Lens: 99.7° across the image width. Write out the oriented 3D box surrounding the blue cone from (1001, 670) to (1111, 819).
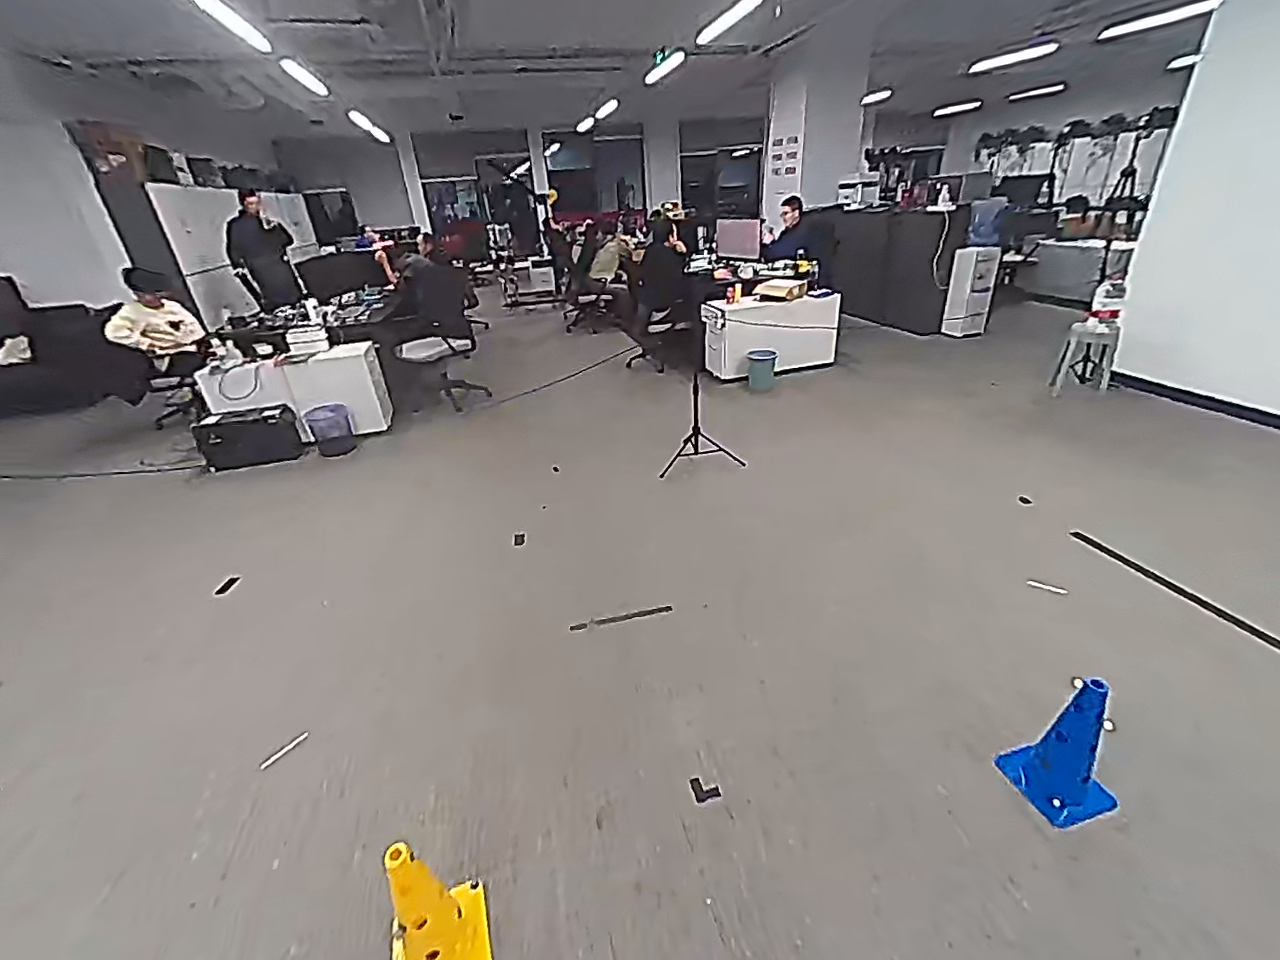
[{"bbox_3d":[1.060,0.623,1.322,0.193,0.380,0.192,-10,27,-10],"label":"blue cone"}]
